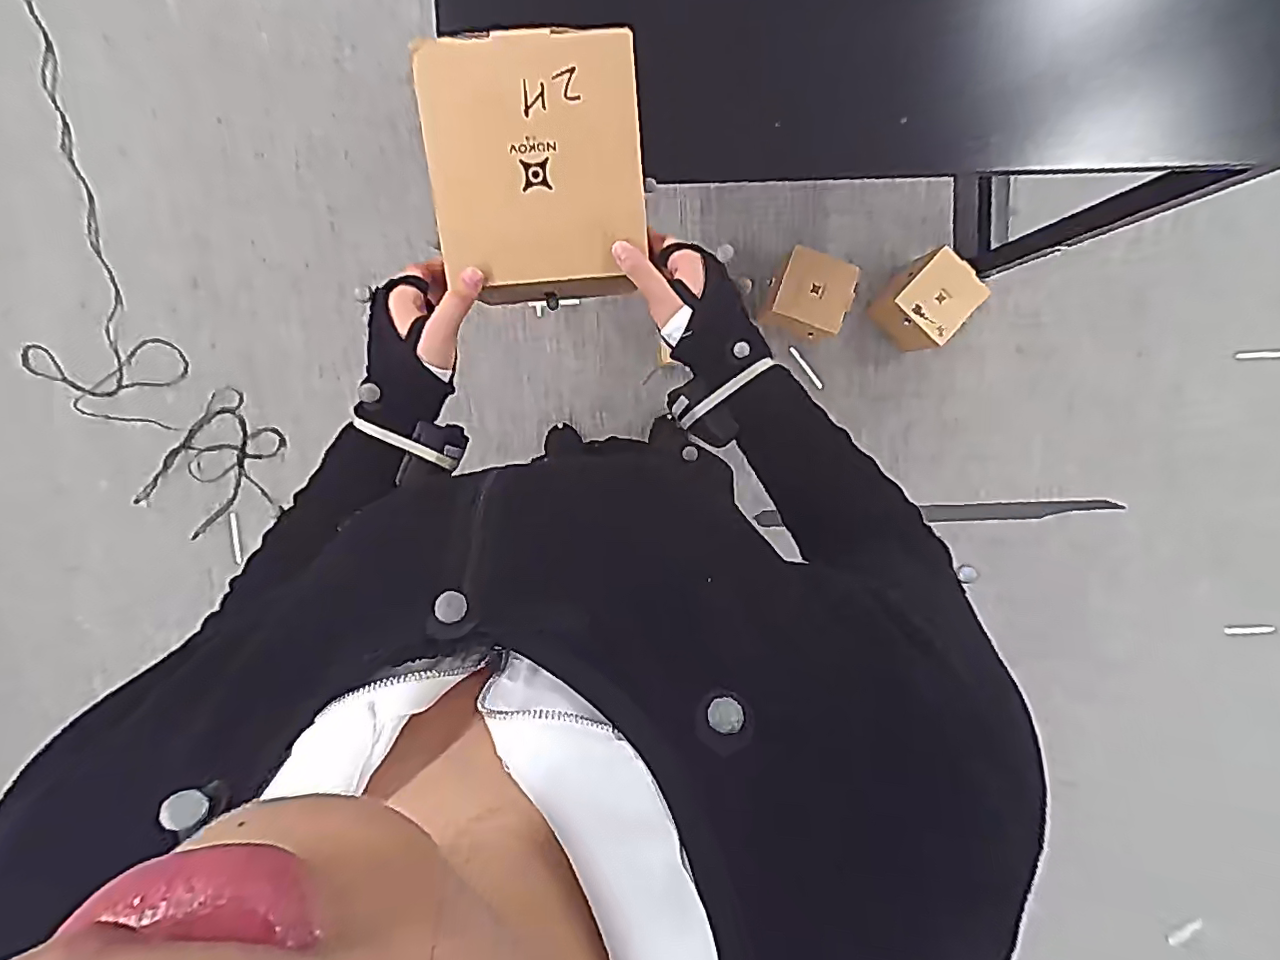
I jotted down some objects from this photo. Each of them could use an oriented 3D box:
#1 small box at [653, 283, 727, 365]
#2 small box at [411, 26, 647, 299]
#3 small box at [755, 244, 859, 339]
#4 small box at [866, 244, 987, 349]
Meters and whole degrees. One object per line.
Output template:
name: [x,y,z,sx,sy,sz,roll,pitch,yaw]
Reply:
small box: [0.122,-0.389,1.368,0.168,0.176,0.179,-3,99,-1]
small box: [-0.085,-0.264,0.494,0.168,0.176,0.179,-6,104,-3]
small box: [0.414,-0.466,1.367,0.179,0.176,0.168,19,96,-3]
small box: [0.717,-0.456,1.374,0.168,0.176,0.179,41,95,-6]
